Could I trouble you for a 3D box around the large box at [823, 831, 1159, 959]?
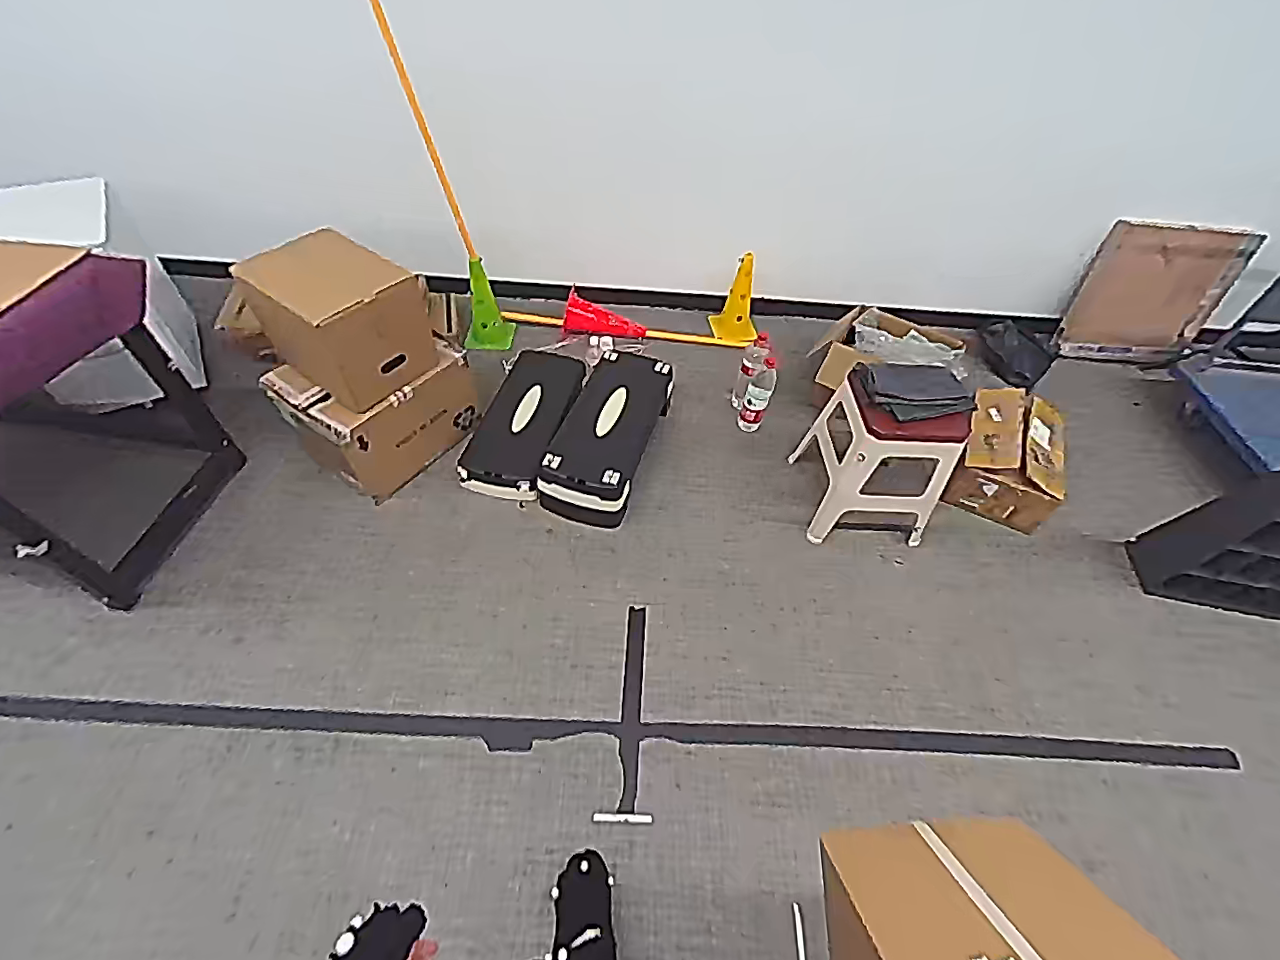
[{"bbox_3d":[0.442,0.698,0.636,0.320,0.408,0.320,-4,90,0],"label":"large box"}]
